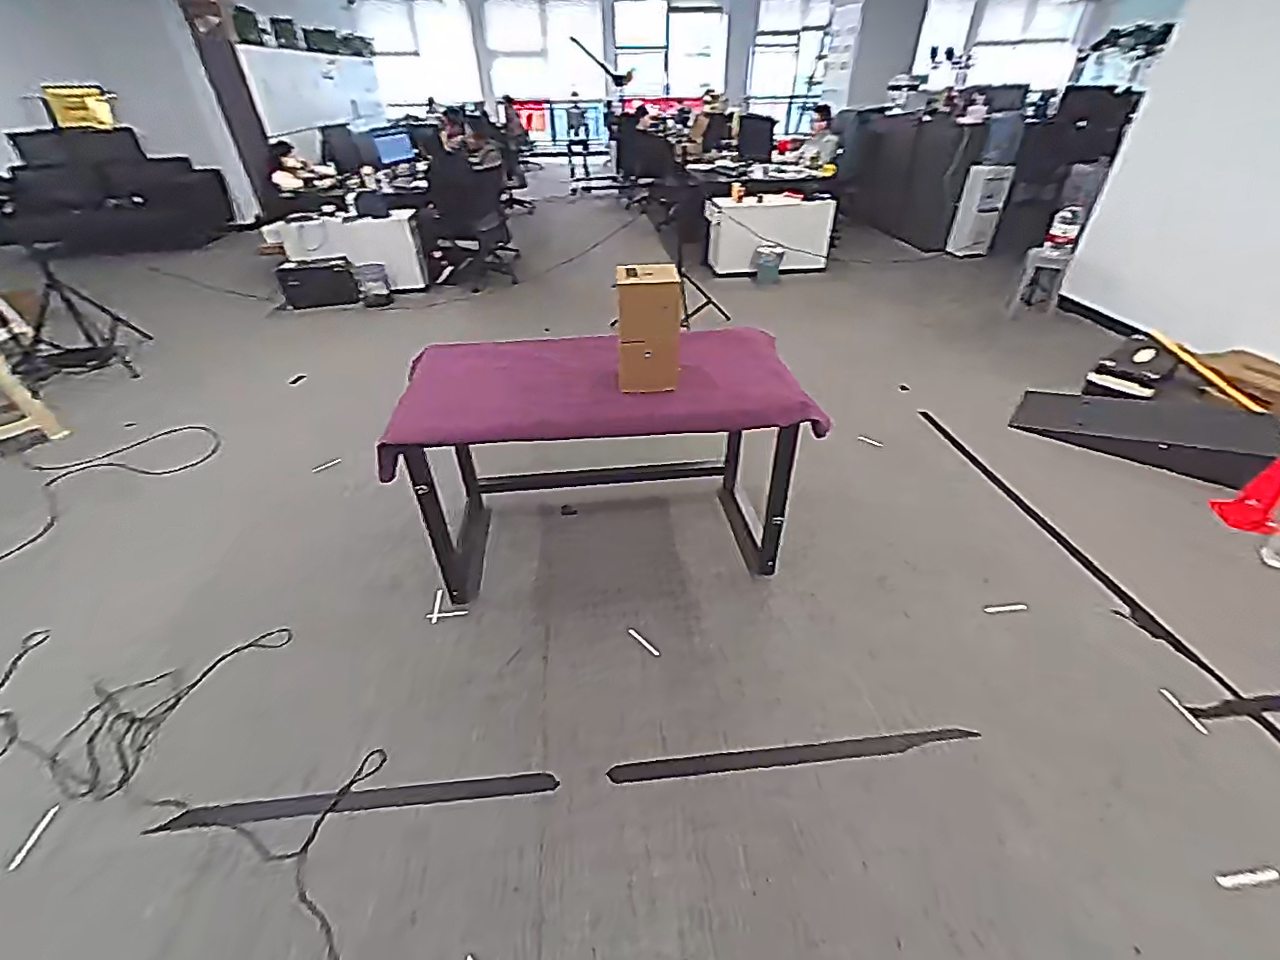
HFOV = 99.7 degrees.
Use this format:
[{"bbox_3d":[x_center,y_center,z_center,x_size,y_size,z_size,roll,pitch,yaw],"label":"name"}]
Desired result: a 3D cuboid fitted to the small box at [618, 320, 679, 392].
[{"bbox_3d":[0.025,-0.382,1.671,0.179,0.176,0.168,-3,38,-3],"label":"small box"}]
